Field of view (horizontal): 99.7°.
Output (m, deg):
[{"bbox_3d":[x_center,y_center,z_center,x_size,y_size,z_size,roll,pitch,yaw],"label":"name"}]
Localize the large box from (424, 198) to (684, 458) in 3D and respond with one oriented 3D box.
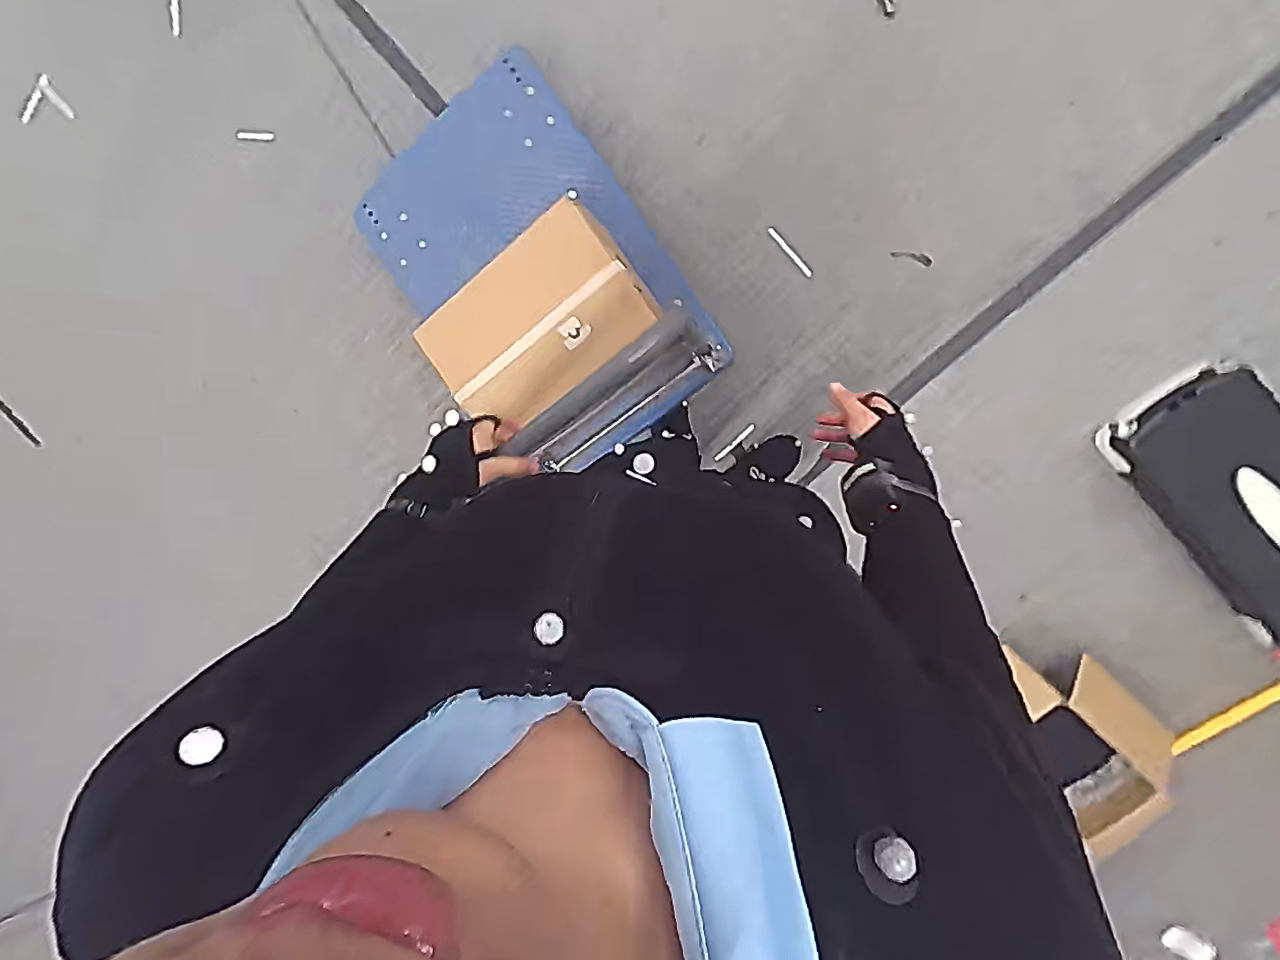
[{"bbox_3d":[-0.162,-0.297,1.166,0.408,0.320,0.320,-35,93,14],"label":"large box"}]
